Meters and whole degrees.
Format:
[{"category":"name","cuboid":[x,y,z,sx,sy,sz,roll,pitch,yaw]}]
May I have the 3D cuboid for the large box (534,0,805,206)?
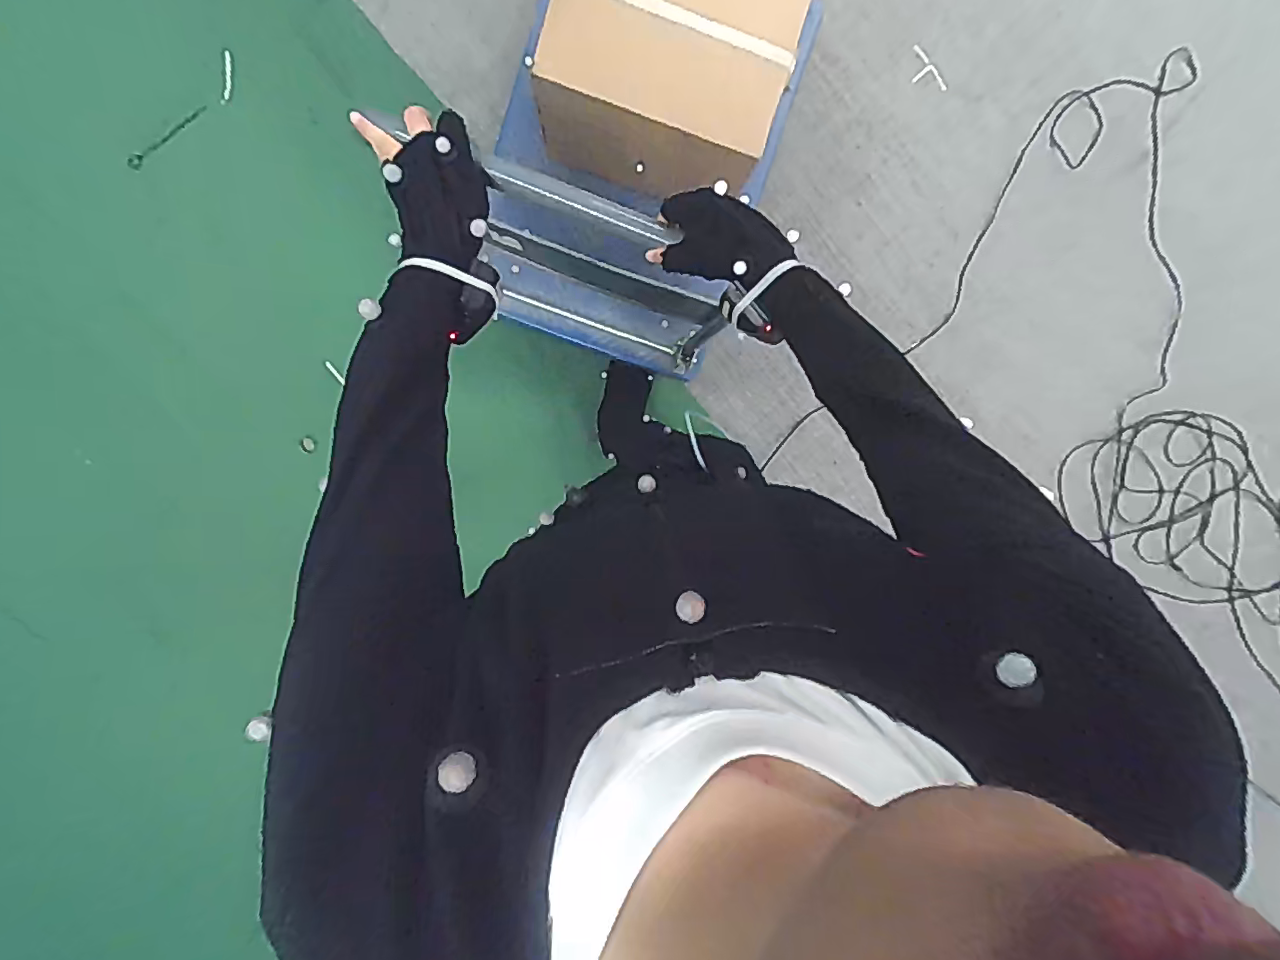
[{"category":"large box","cuboid":[0.051,-0.781,1.026,0.408,0.320,0.320,16,96,-5]}]
